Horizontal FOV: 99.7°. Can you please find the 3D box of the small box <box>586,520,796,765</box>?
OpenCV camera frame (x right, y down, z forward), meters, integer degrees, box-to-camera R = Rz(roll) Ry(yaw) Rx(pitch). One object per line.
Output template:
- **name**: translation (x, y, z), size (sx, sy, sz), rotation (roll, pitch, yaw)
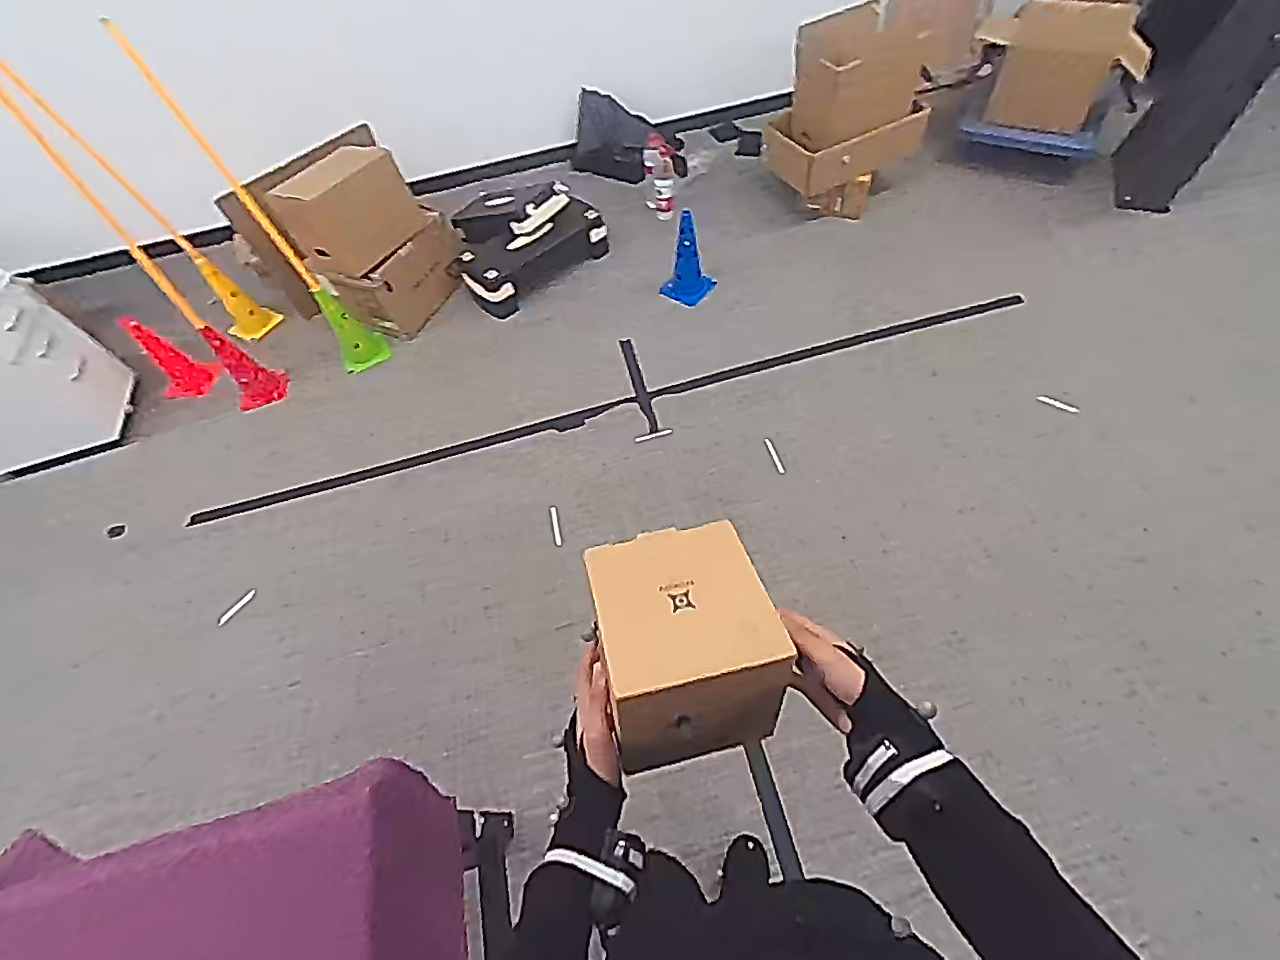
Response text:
- **small box**: translation (0.044, 0.173, 0.570), size (0.168, 0.176, 0.179), rotation (-11, 41, -9)
